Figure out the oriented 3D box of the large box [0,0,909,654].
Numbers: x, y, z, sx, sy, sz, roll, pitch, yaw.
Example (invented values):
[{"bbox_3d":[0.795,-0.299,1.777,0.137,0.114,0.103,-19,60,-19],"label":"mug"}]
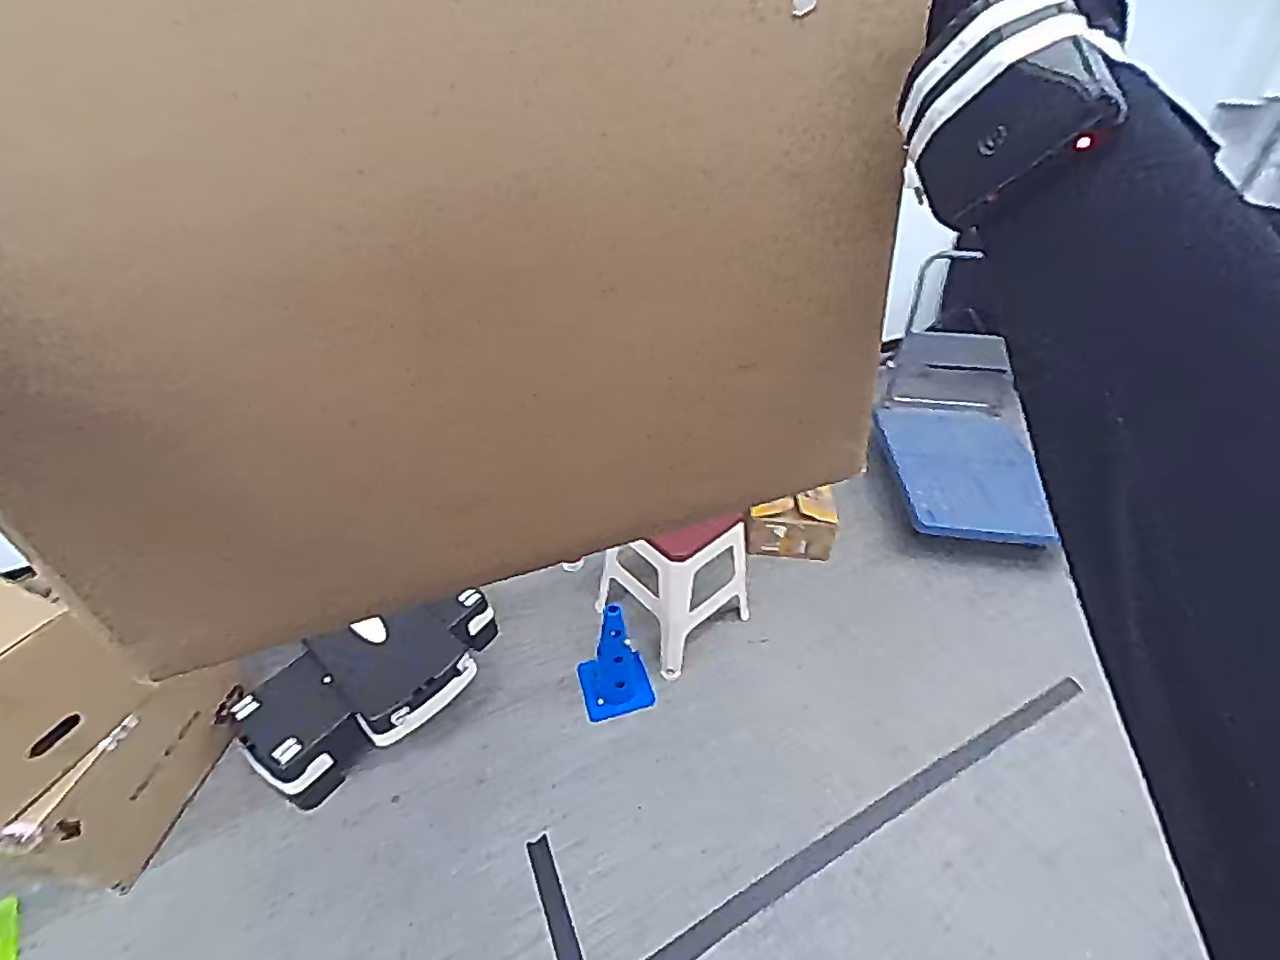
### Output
[{"bbox_3d":[-0.107,-0.154,0.355,0.408,0.320,0.320,-14,33,-14],"label":"large box"}]
